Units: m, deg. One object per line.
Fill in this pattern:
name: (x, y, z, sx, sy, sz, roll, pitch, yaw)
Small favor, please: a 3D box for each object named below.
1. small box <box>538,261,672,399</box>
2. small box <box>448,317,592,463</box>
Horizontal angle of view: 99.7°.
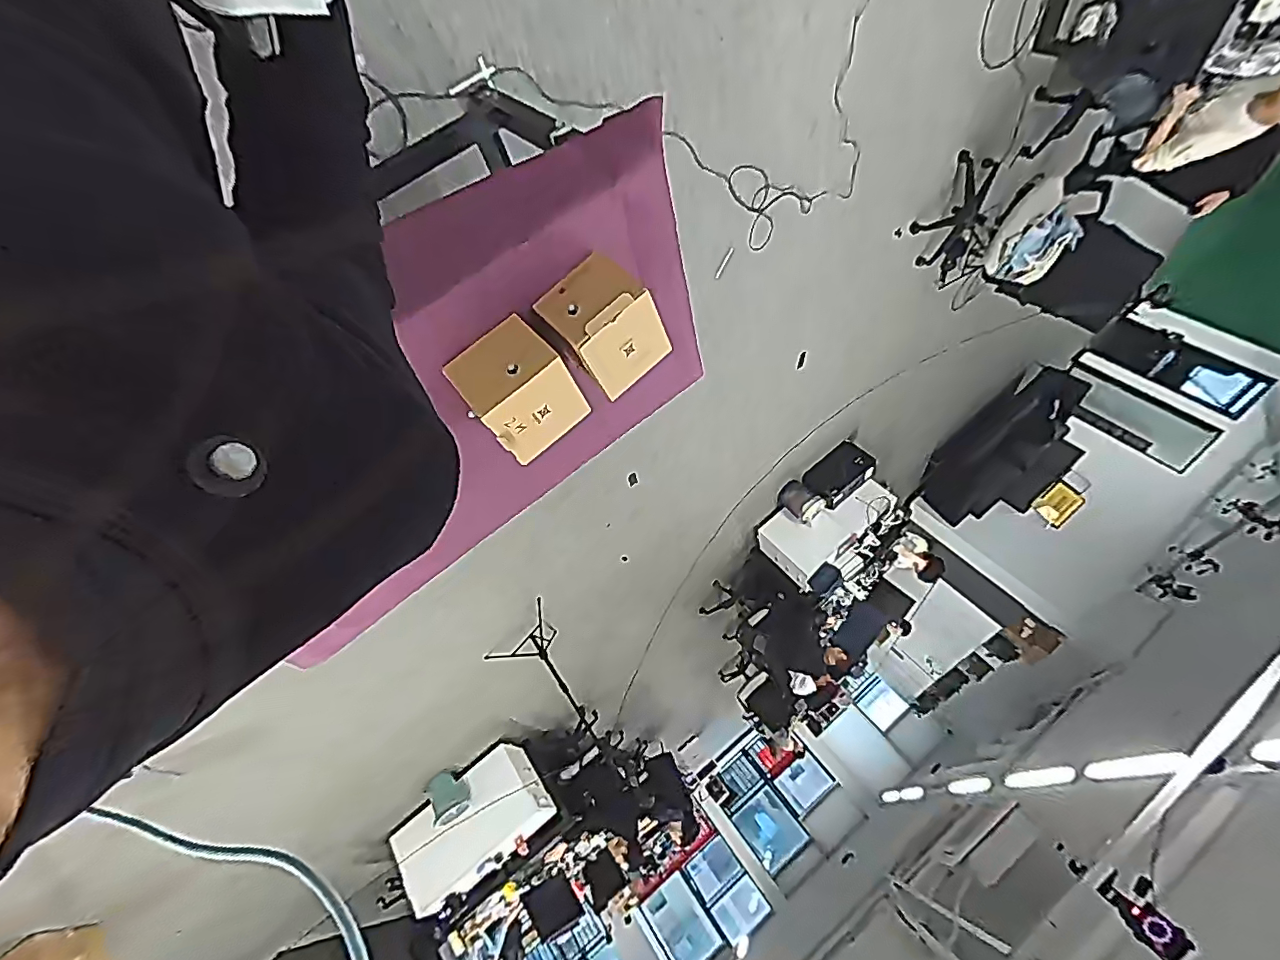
small box: (-0.069, -0.299, 1.056, 0.168, 0.176, 0.179, -41, 149, -3)
small box: (-0.227, -0.173, 1.022, 0.179, 0.176, 0.168, -39, 148, -6)
